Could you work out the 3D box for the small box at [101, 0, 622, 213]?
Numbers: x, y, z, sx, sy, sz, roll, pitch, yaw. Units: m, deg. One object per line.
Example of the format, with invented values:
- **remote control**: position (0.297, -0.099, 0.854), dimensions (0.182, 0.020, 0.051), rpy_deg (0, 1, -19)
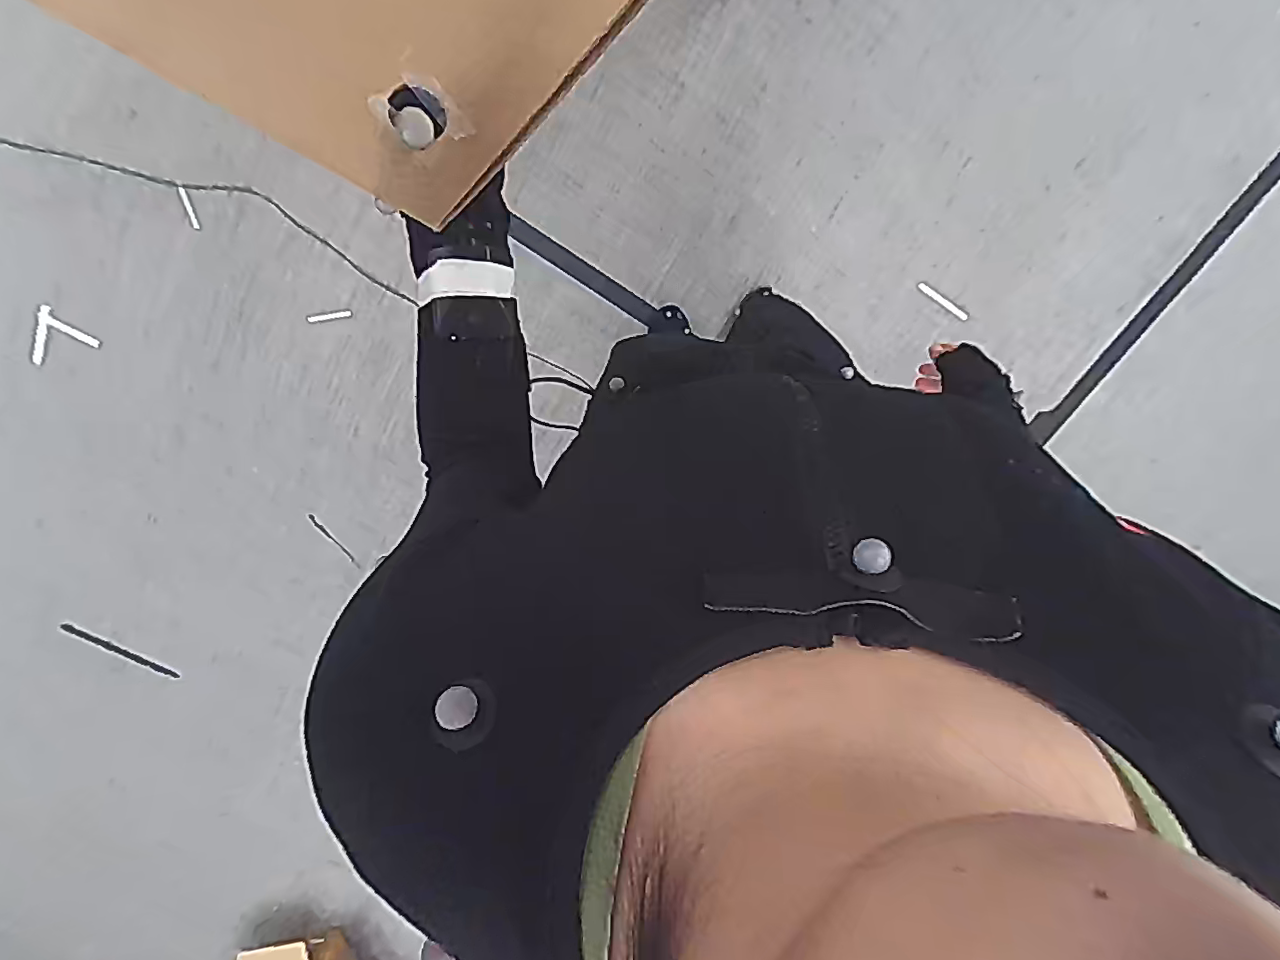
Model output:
- **small box**: position (-0.112, -0.254, 0.200), dimensions (0.179, 0.176, 0.168), rpy_deg (-30, 65, 31)
